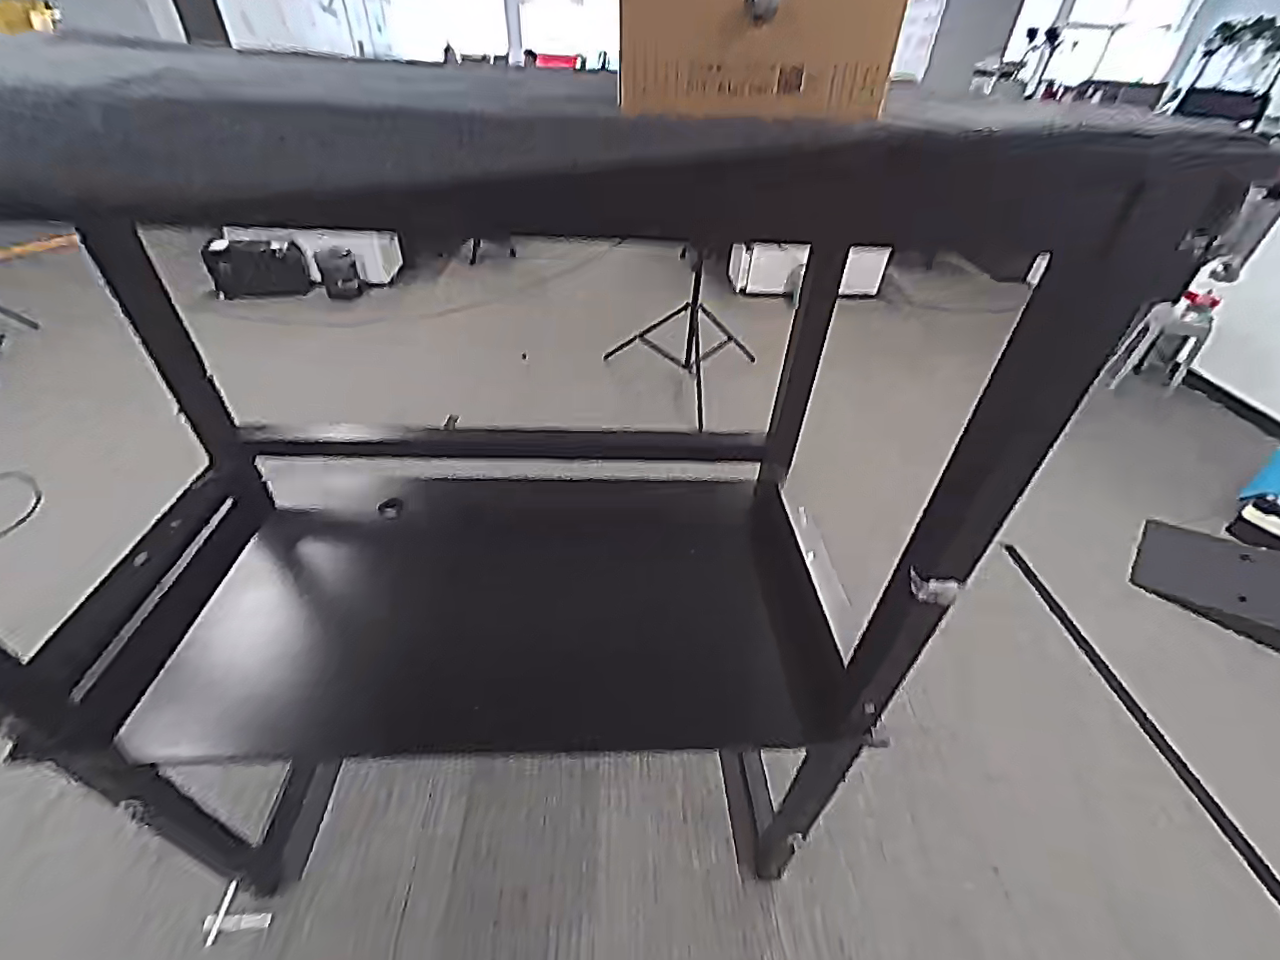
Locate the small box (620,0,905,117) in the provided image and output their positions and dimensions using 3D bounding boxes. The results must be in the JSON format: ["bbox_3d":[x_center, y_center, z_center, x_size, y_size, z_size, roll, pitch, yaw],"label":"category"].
[{"bbox_3d":[0.071,-0.349,0.353,0.168,0.176,0.179,0,39,-1],"label":"small box"}]
